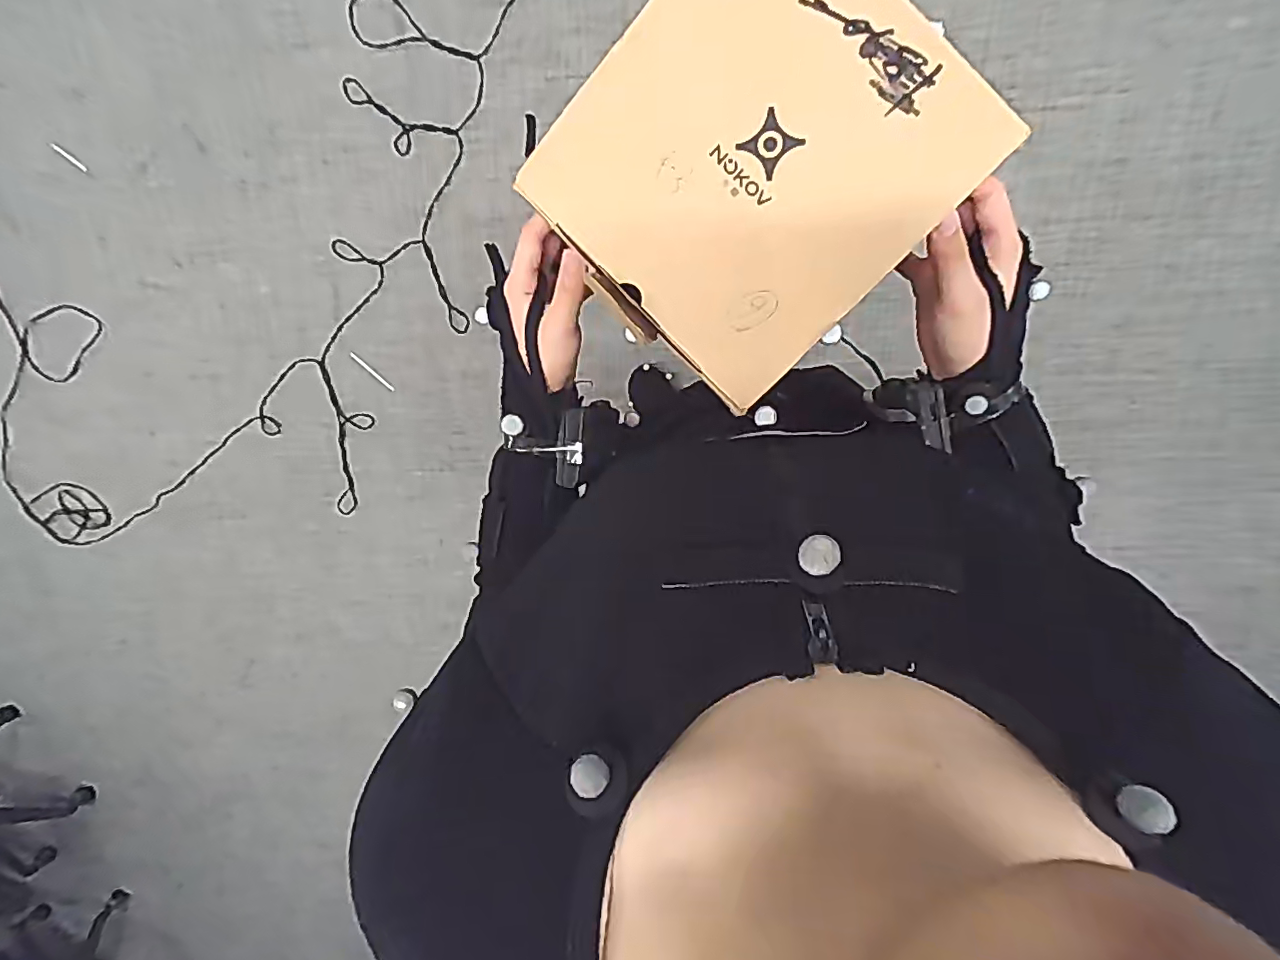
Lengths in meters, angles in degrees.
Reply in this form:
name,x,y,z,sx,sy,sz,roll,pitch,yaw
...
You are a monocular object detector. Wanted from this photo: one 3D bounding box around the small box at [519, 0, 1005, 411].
name,x,y,z,sx,sy,sz,roll,pitch,yaw
small box,0.063,-0.164,0.339,0.168,0.176,0.179,45,103,-2
